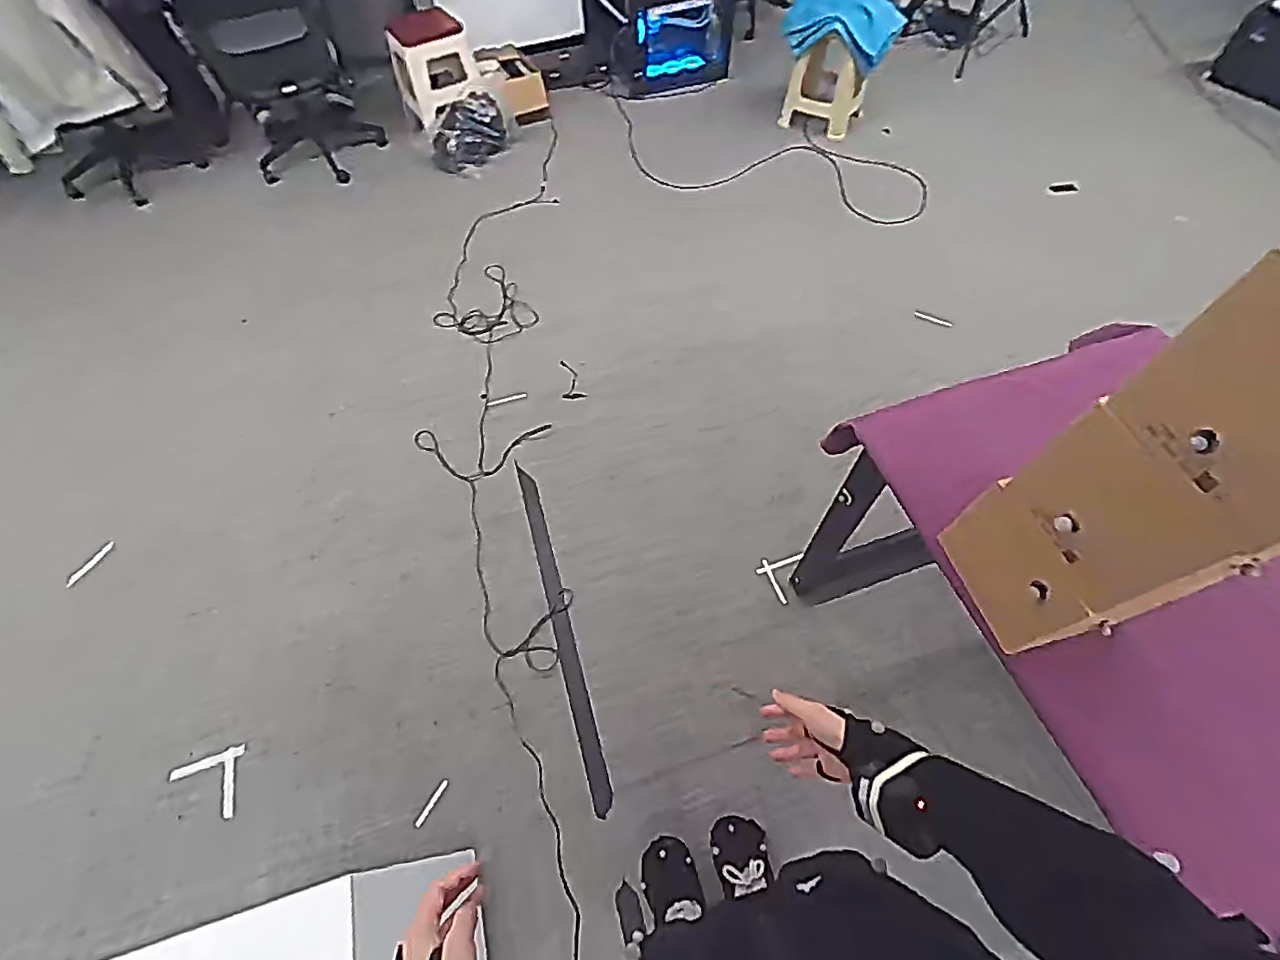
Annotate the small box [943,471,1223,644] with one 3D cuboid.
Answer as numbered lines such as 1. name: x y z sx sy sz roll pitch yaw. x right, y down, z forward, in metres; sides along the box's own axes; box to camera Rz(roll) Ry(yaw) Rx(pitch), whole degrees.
1. small box: 0.528 0.093 0.680 0.168 0.176 0.179 -13 59 -6

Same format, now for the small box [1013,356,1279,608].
1. small box: 0.532 0.009 0.538 0.179 0.176 0.168 -15 60 -5
